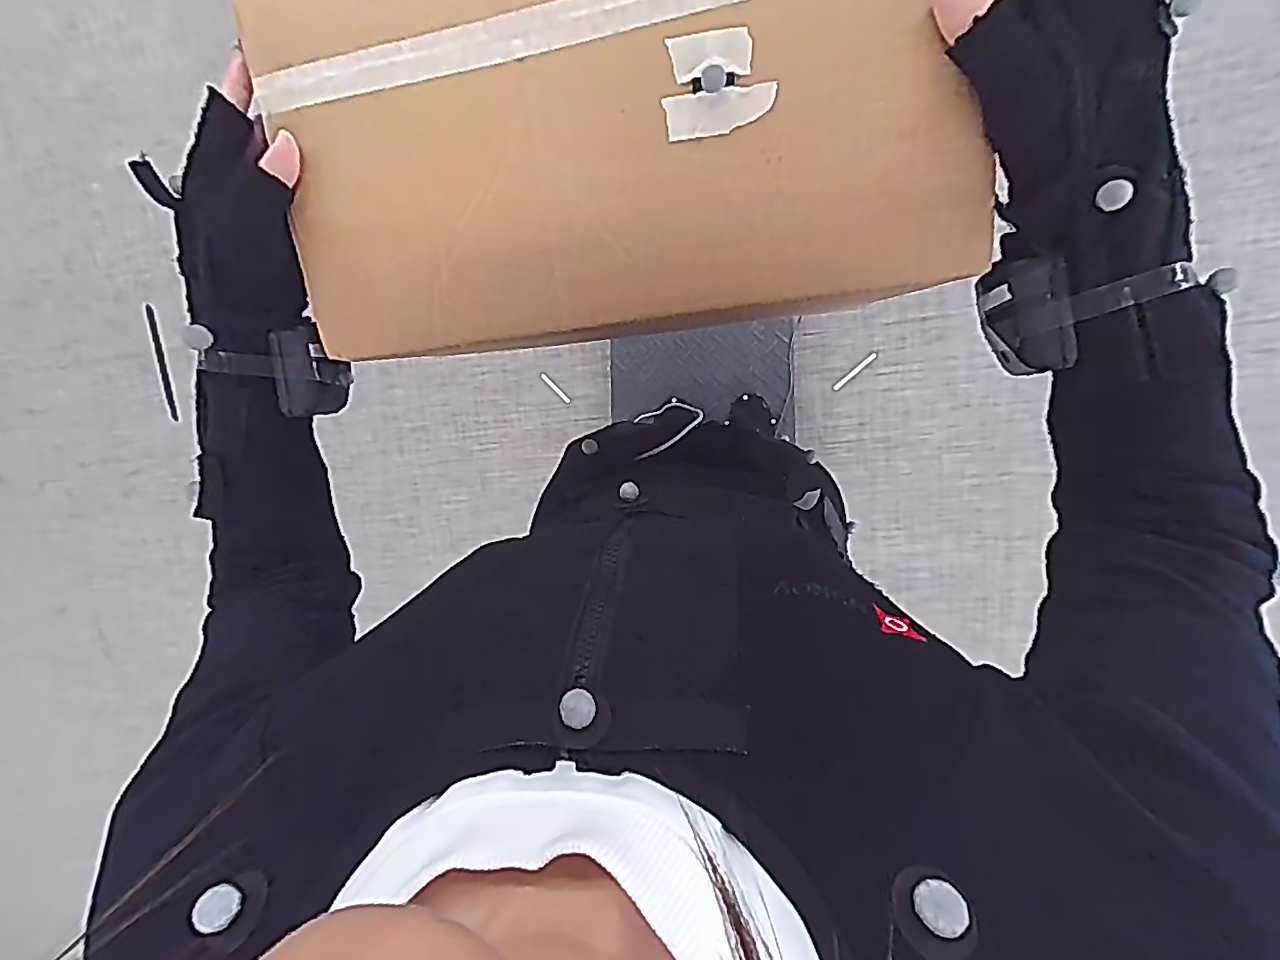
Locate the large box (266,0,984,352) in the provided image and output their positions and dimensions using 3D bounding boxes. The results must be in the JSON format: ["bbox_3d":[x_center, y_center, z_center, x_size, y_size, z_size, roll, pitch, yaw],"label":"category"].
[{"bbox_3d":[-0.004,-0.291,0.444,0.408,0.320,0.320,-5,104,10],"label":"large box"}]
